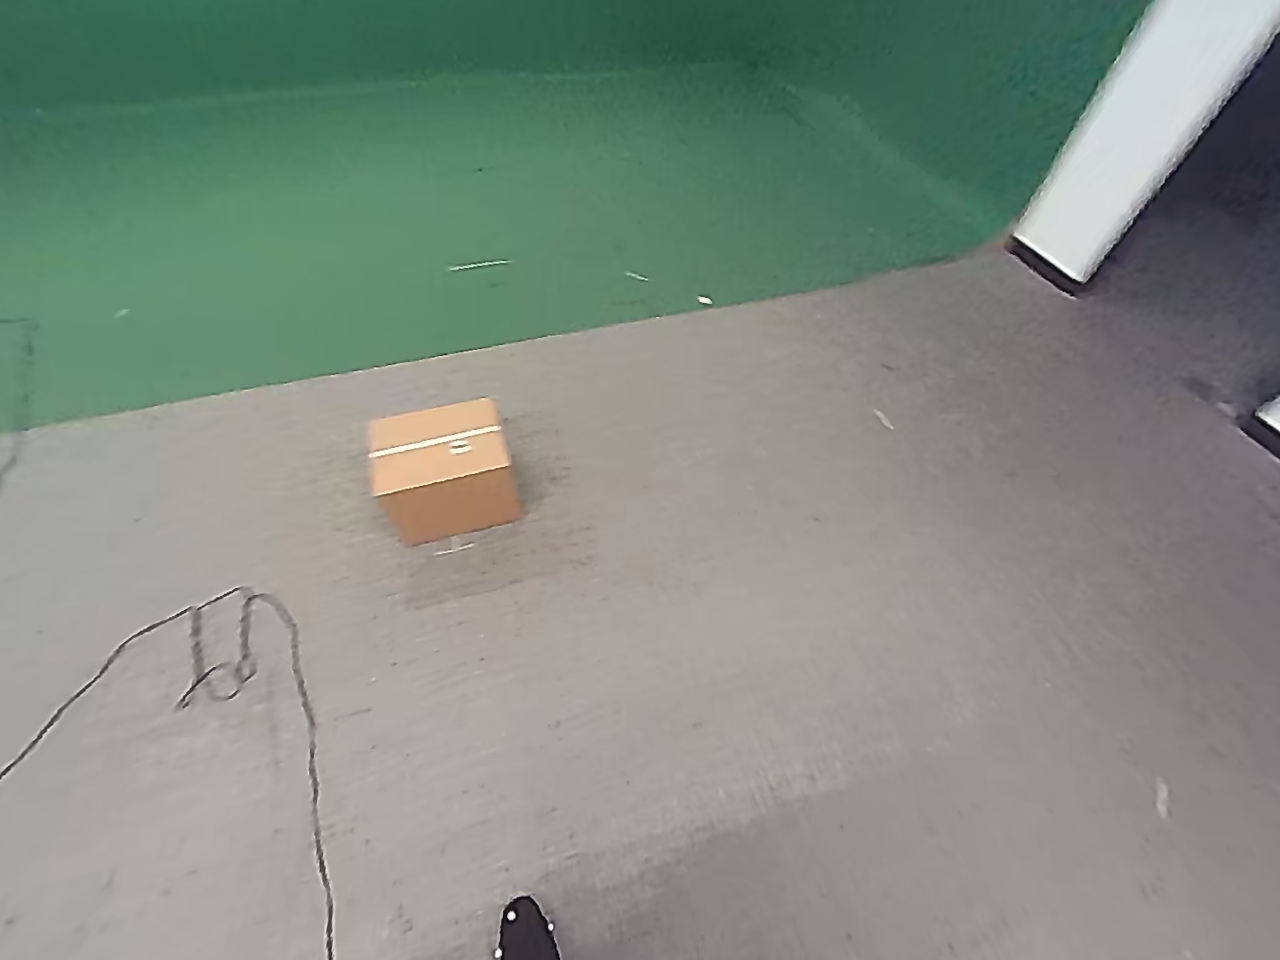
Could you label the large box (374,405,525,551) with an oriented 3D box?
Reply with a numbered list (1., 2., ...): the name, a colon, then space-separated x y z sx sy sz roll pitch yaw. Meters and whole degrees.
1. large box: -0.639 -0.006 1.843 0.408 0.320 0.320 -14 55 -13
